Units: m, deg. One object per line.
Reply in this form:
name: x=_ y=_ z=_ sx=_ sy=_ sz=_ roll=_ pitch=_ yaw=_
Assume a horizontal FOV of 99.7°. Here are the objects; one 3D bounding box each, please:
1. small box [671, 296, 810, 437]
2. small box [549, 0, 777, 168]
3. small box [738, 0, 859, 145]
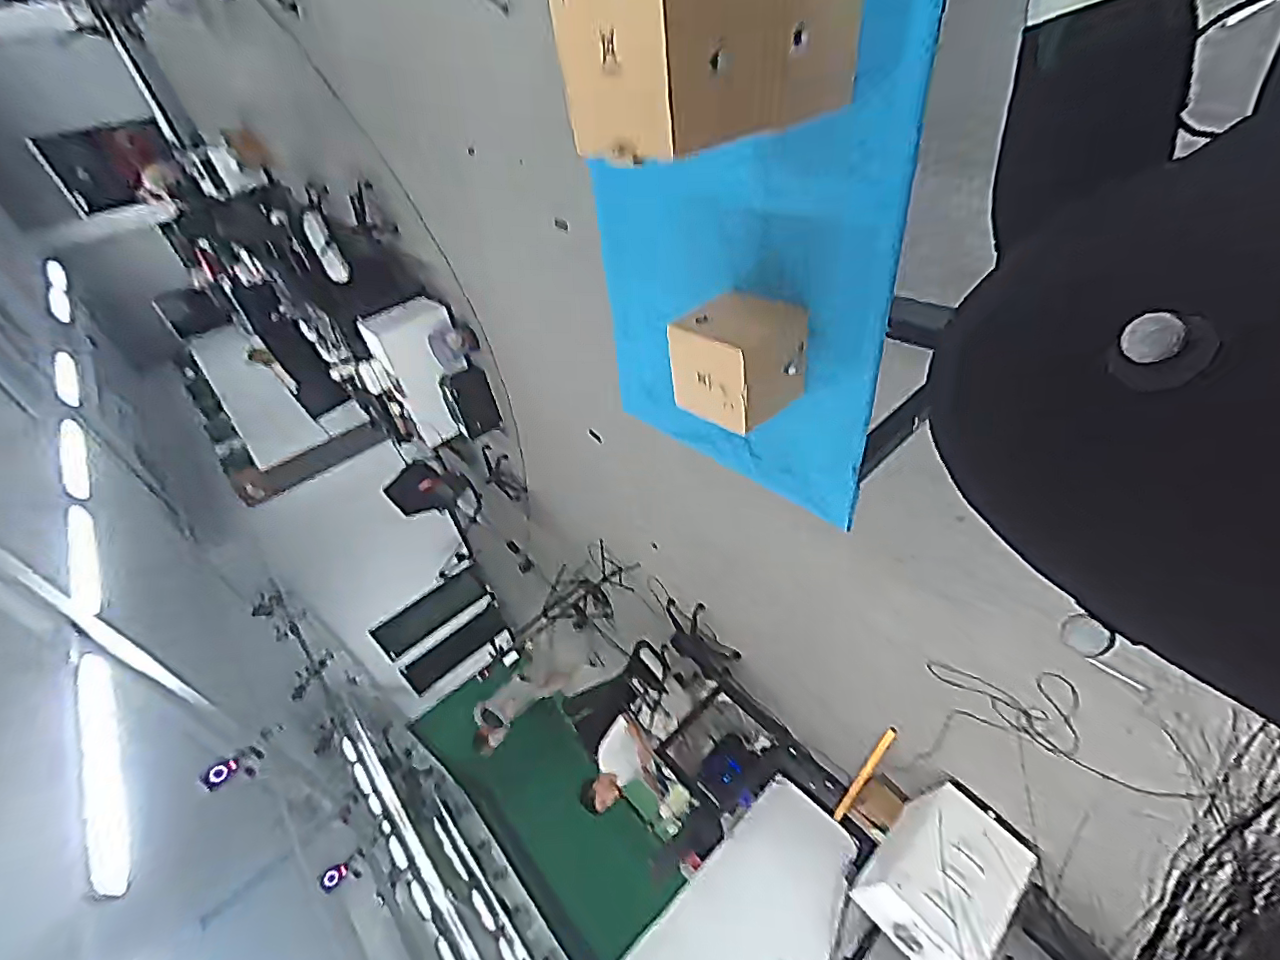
small box: x=0.178 y=-0.212 z=0.975 sx=0.179 sy=0.176 sz=0.168 roll=32 pitch=147 yaw=35
small box: x=0.032 y=-0.452 z=0.577 sx=0.168 sy=0.176 sz=0.179 roll=30 pitch=143 yaw=41
small box: x=0.147 y=-0.532 z=0.659 sx=0.168 sy=0.176 sz=0.179 roll=32 pitch=145 yaw=38
